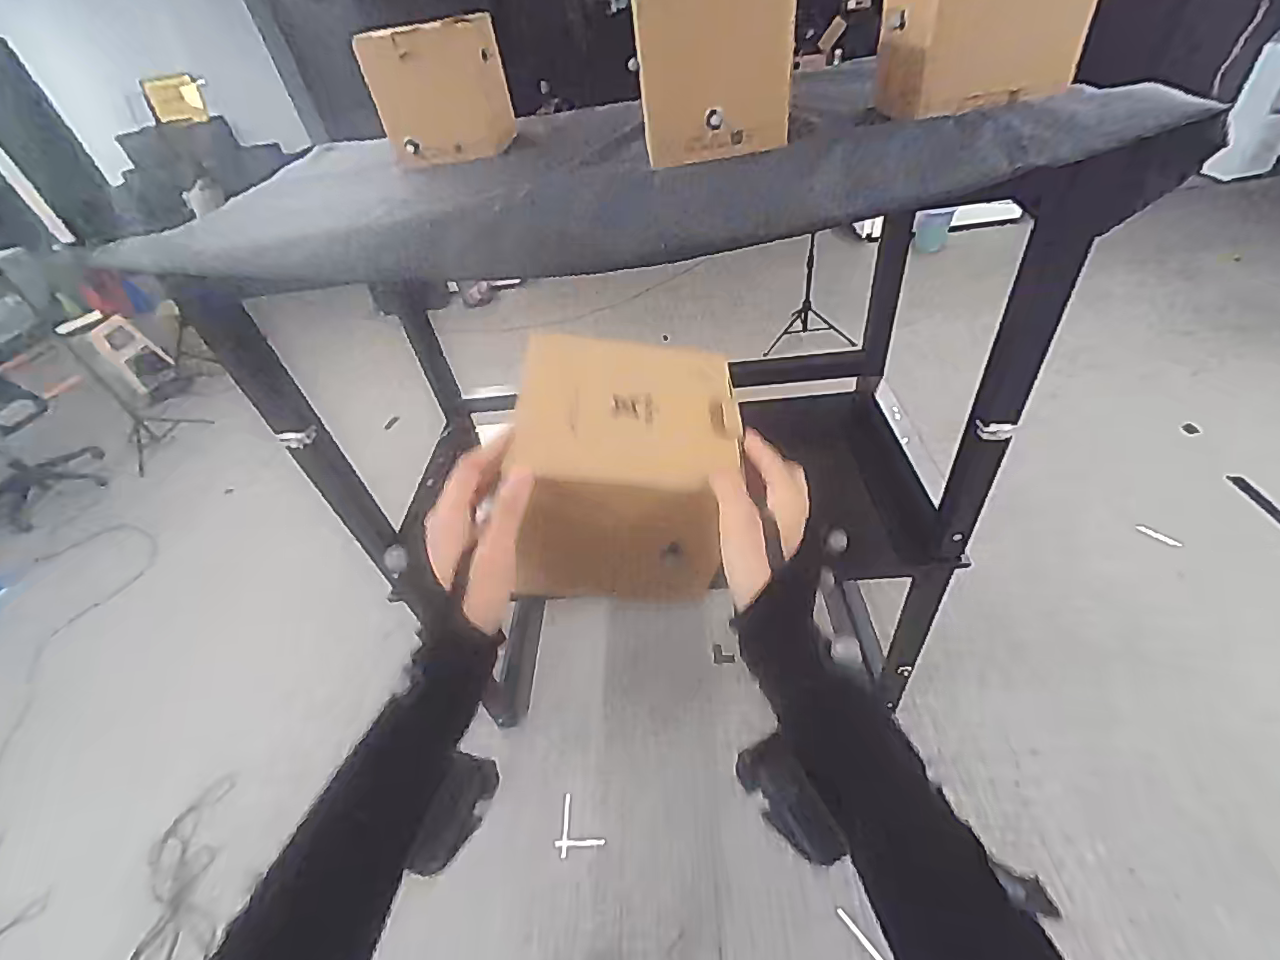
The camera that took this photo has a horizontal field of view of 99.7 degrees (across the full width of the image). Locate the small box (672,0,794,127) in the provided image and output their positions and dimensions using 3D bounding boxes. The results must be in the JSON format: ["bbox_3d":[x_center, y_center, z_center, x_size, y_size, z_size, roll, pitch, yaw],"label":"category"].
[{"bbox_3d":[0.136,-0.657,0.826,0.168,0.176,0.179,-4,42,7],"label":"small box"}]

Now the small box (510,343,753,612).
[{"bbox_3d":[-0.014,0.004,0.488,0.179,0.176,0.168,7,48,-5],"label":"small box"}]

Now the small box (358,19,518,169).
[{"bbox_3d":[-0.307,-0.615,0.870,0.168,0.176,0.179,-4,42,6],"label":"small box"}]
